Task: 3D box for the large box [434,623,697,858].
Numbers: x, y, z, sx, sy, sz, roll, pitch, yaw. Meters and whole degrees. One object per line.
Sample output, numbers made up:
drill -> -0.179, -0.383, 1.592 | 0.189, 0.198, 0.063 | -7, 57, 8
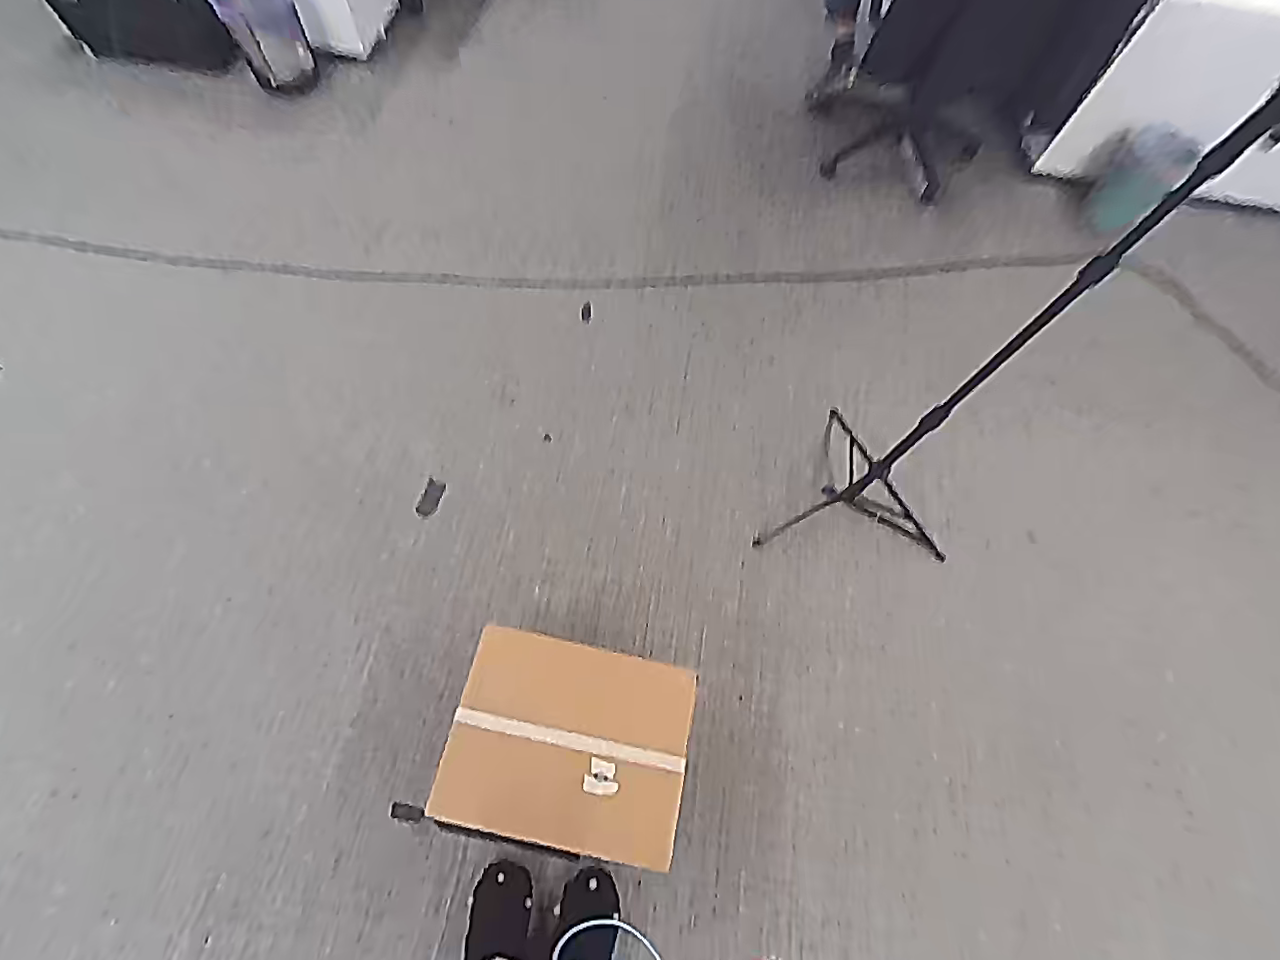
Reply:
large box -> -0.130, 0.504, 1.075 | 0.408, 0.320, 0.320 | 13, 65, 1
